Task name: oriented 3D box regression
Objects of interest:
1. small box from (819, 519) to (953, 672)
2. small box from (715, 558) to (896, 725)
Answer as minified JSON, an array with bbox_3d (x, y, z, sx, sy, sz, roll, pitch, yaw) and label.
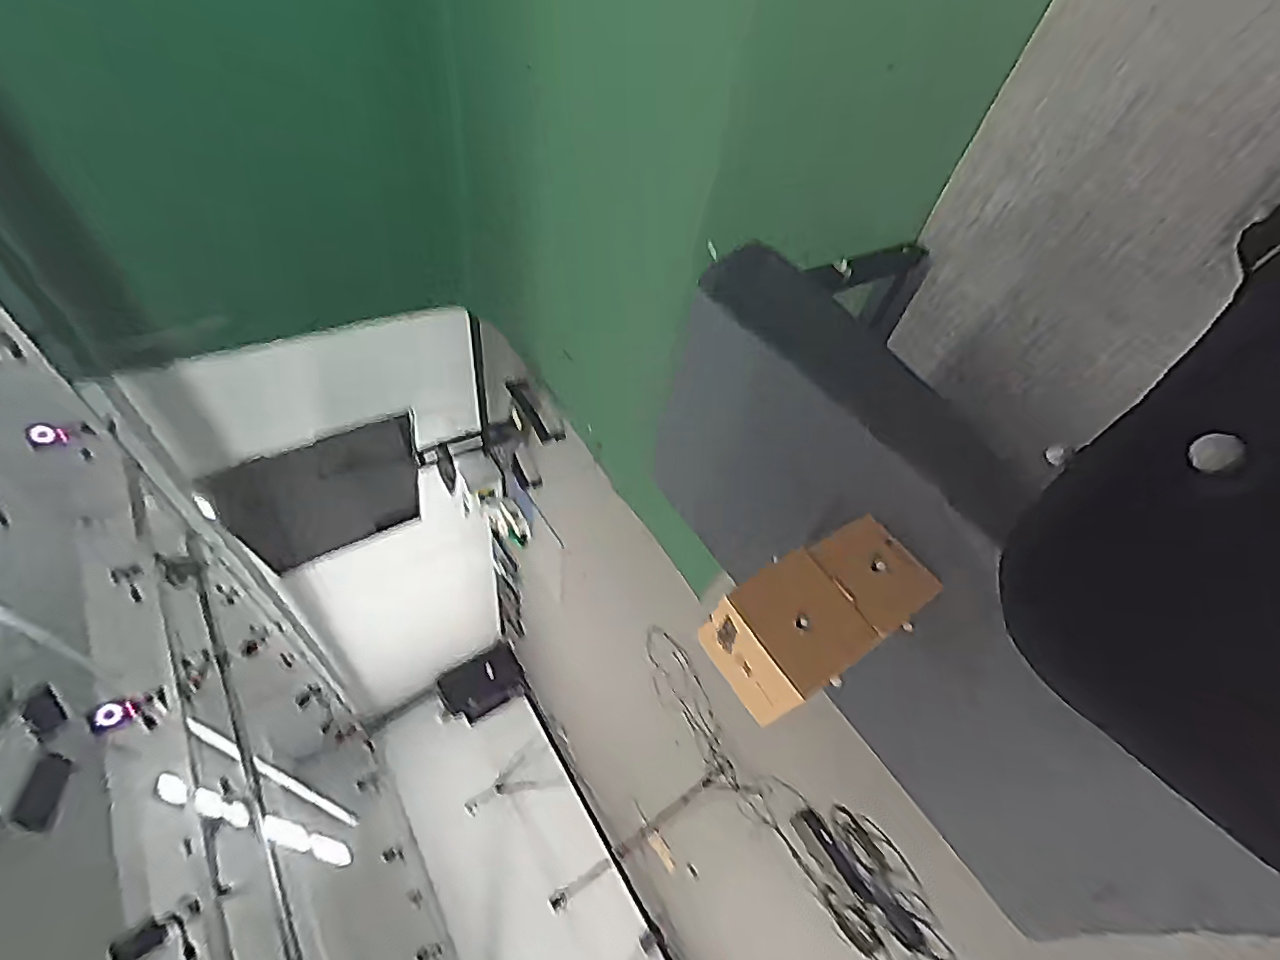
[{"bbox_3d":[0.392,0.195,0.922,0.168,0.176,0.179,51,150,29],"label":"small box"},{"bbox_3d":[0.252,0.245,0.849,0.179,0.176,0.168,52,152,26],"label":"small box"}]
